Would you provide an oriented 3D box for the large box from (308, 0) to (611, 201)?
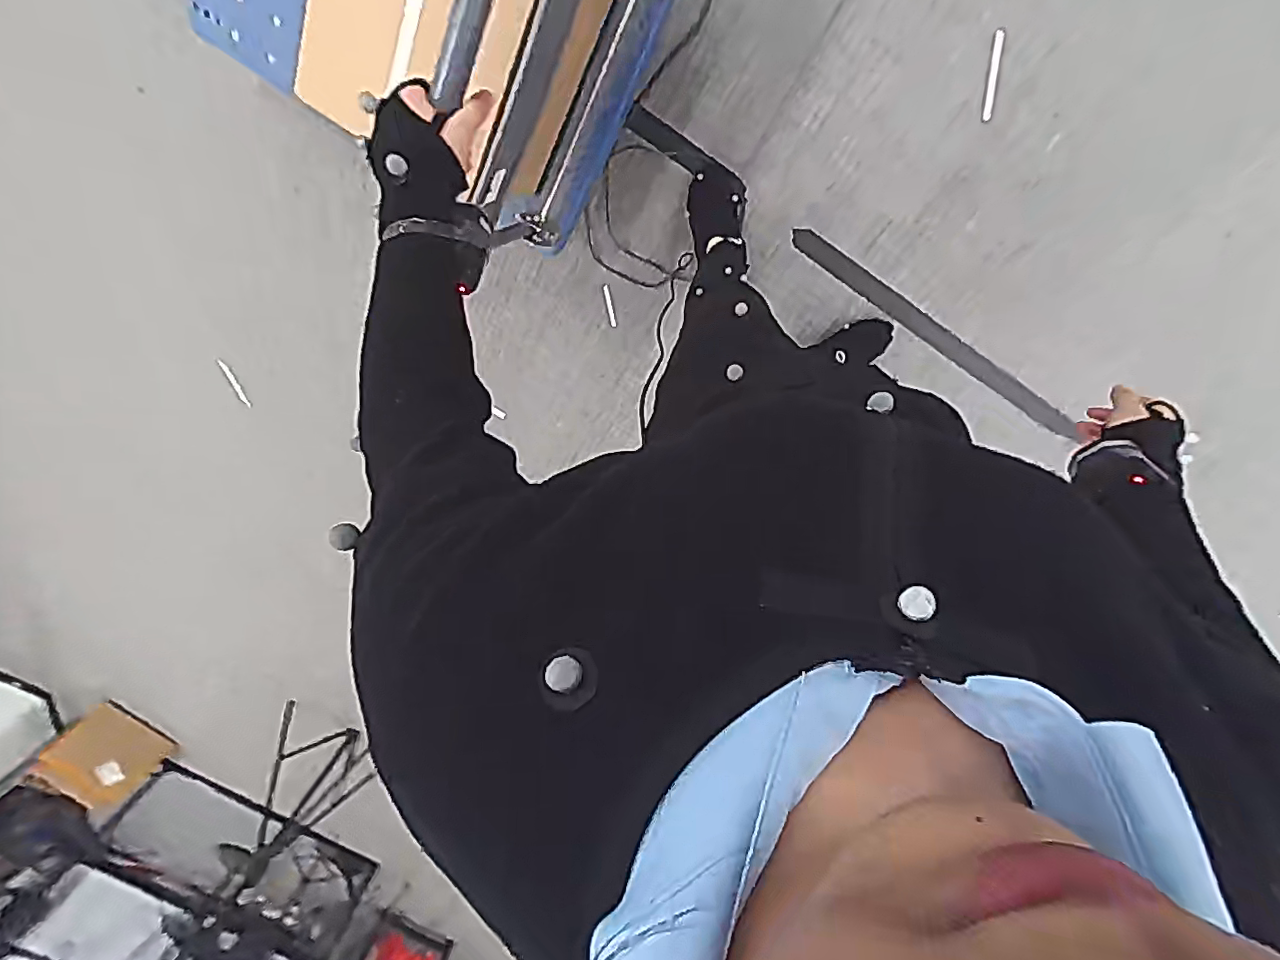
[{"bbox_3d":[-0.285,-0.745,0.908,0.320,0.320,0.408,30,121,-6],"label":"large box"}]
